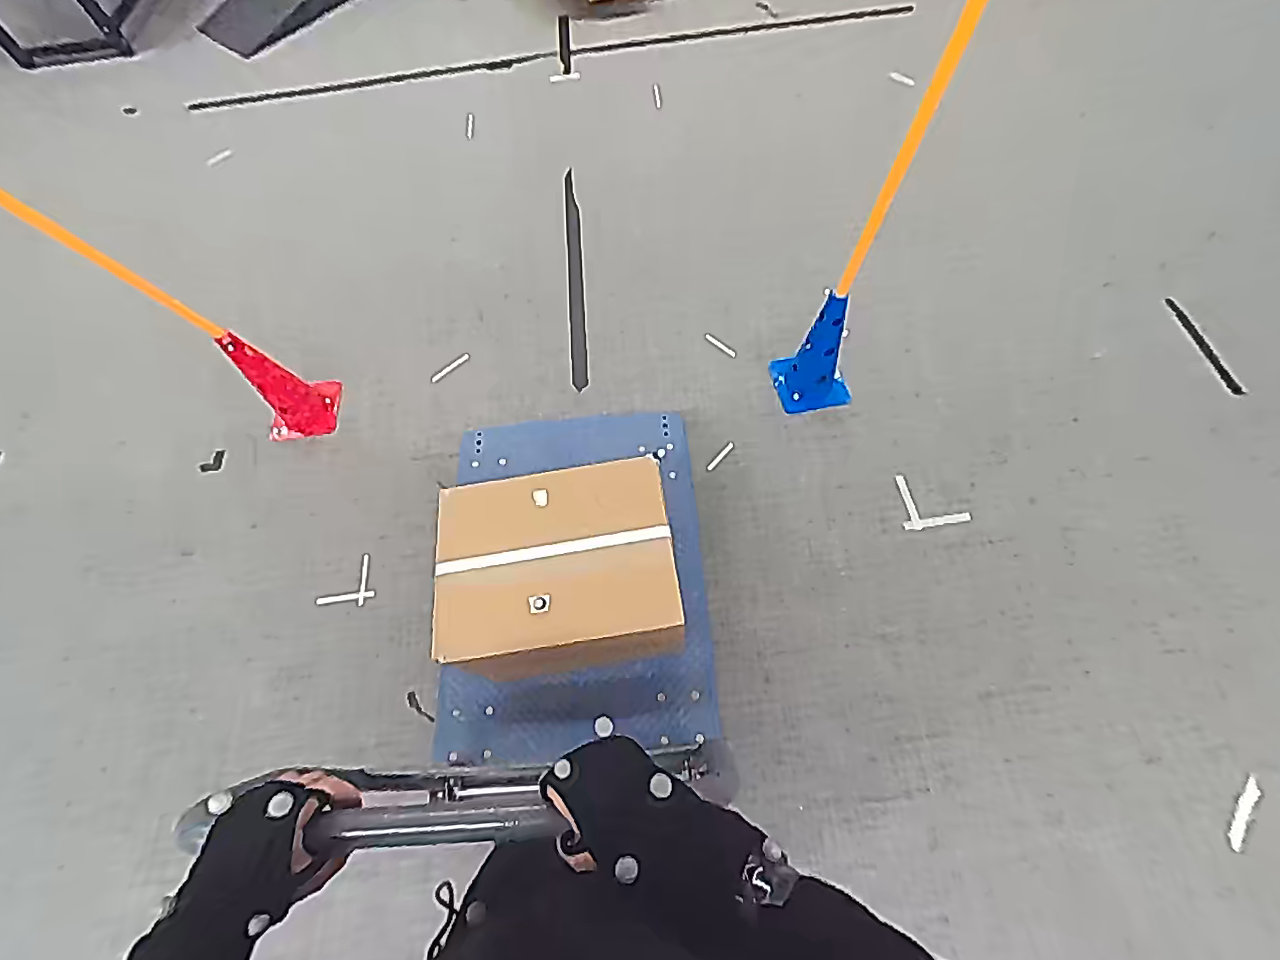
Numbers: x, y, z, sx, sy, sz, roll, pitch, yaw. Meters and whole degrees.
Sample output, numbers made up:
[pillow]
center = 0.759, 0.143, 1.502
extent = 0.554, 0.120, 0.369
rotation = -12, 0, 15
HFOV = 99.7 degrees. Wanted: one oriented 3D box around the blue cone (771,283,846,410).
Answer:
[blue cone]
center = 0.493, -0.370, 1.466
extent = 0.193, 0.380, 0.192
rotation = -10, 63, -1
